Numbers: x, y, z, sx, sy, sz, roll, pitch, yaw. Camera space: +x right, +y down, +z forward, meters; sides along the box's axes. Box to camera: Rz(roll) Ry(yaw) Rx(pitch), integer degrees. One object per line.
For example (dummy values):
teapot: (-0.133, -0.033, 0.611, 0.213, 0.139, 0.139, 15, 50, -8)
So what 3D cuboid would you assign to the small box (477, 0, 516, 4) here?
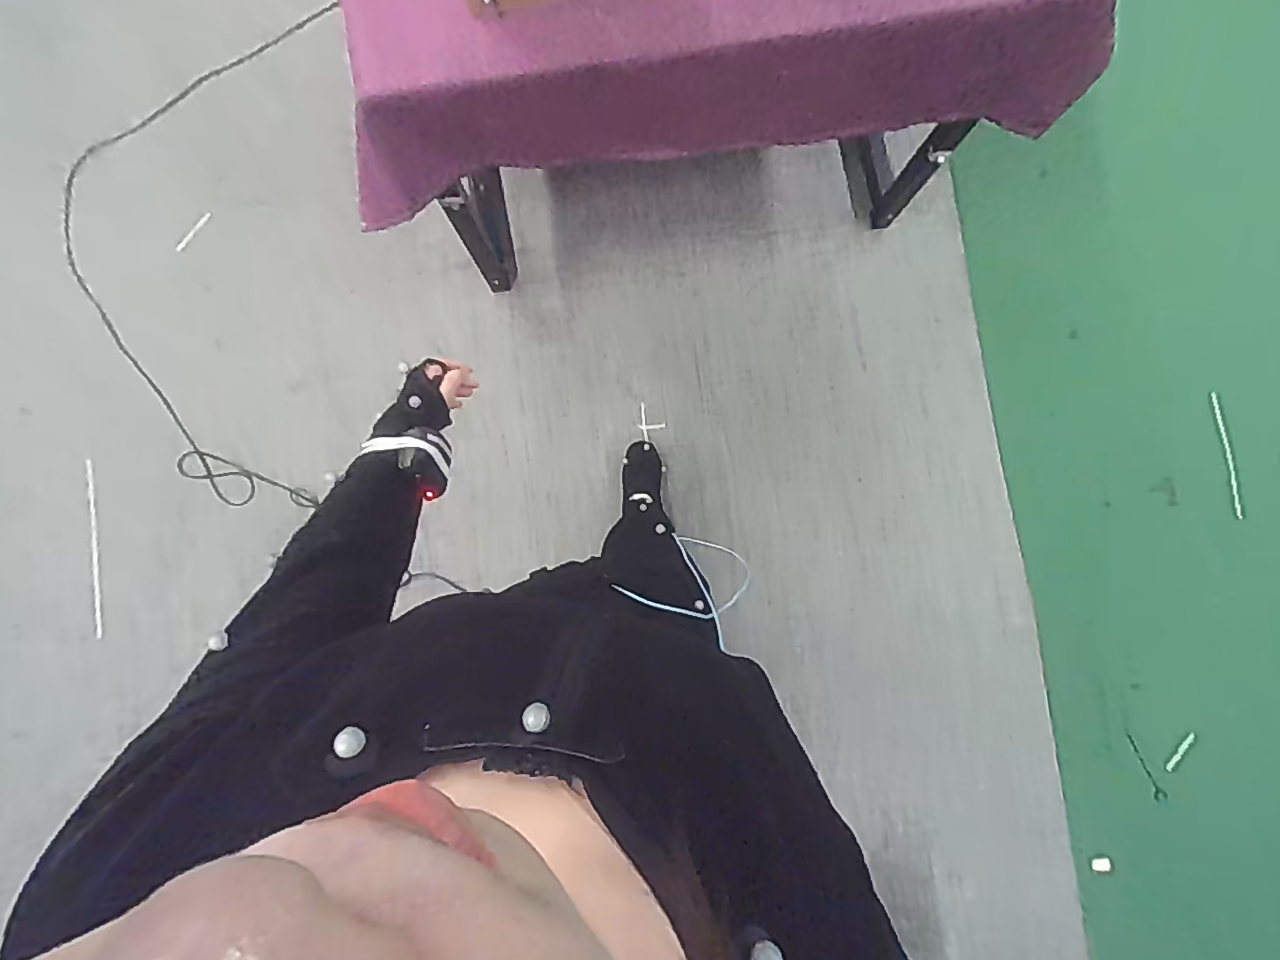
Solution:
small box: (-0.193, -0.820, 0.759, 0.168, 0.176, 0.179, -11, 85, -2)
